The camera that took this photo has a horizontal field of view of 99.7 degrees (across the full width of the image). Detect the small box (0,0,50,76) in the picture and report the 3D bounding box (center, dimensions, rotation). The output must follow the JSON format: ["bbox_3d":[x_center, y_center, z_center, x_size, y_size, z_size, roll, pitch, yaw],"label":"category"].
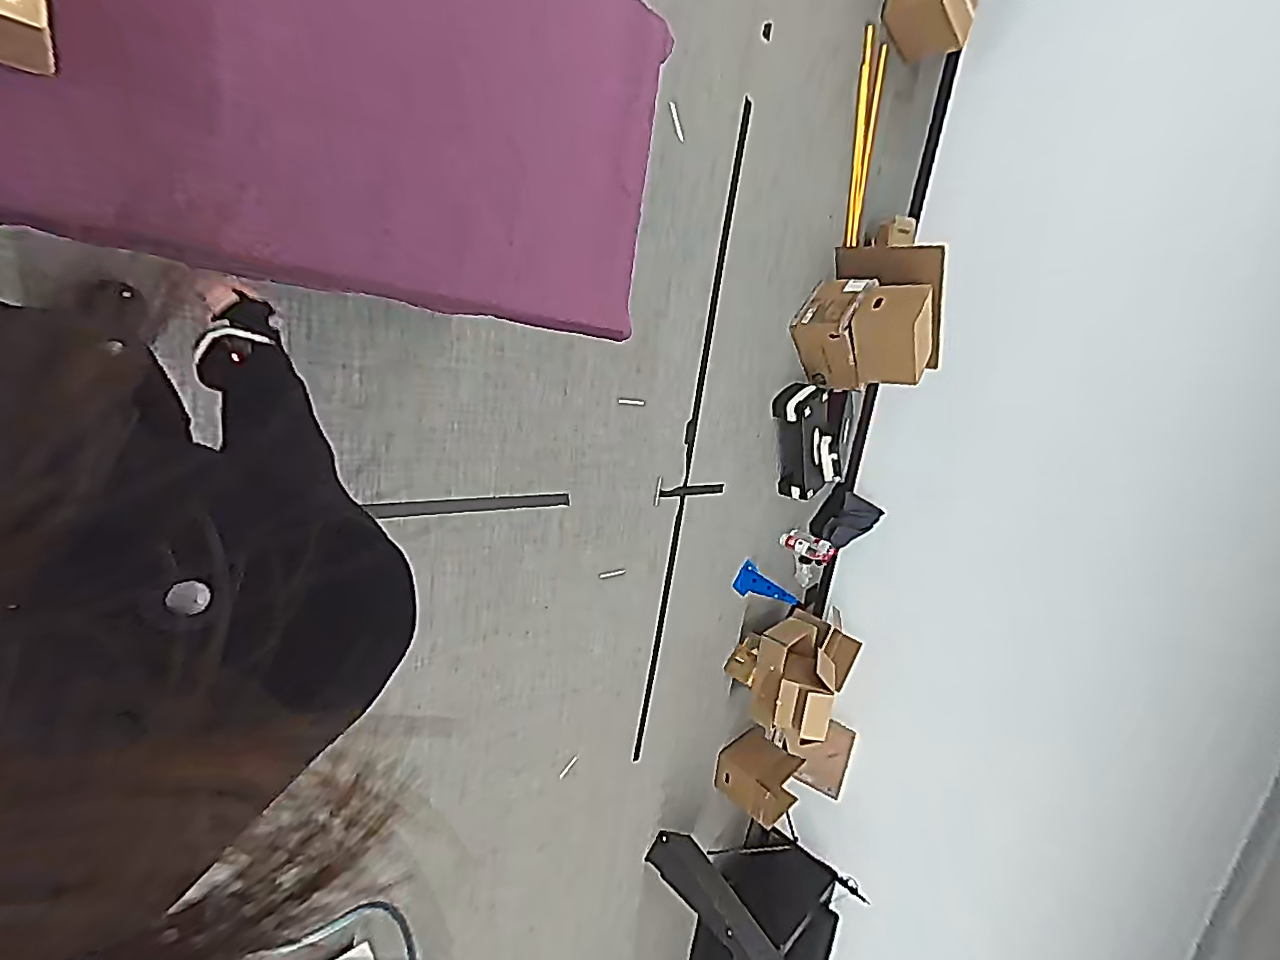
[{"bbox_3d":[-0.607,-0.476,0.437,0.168,0.176,0.179,-6,109,-45],"label":"small box"}]
